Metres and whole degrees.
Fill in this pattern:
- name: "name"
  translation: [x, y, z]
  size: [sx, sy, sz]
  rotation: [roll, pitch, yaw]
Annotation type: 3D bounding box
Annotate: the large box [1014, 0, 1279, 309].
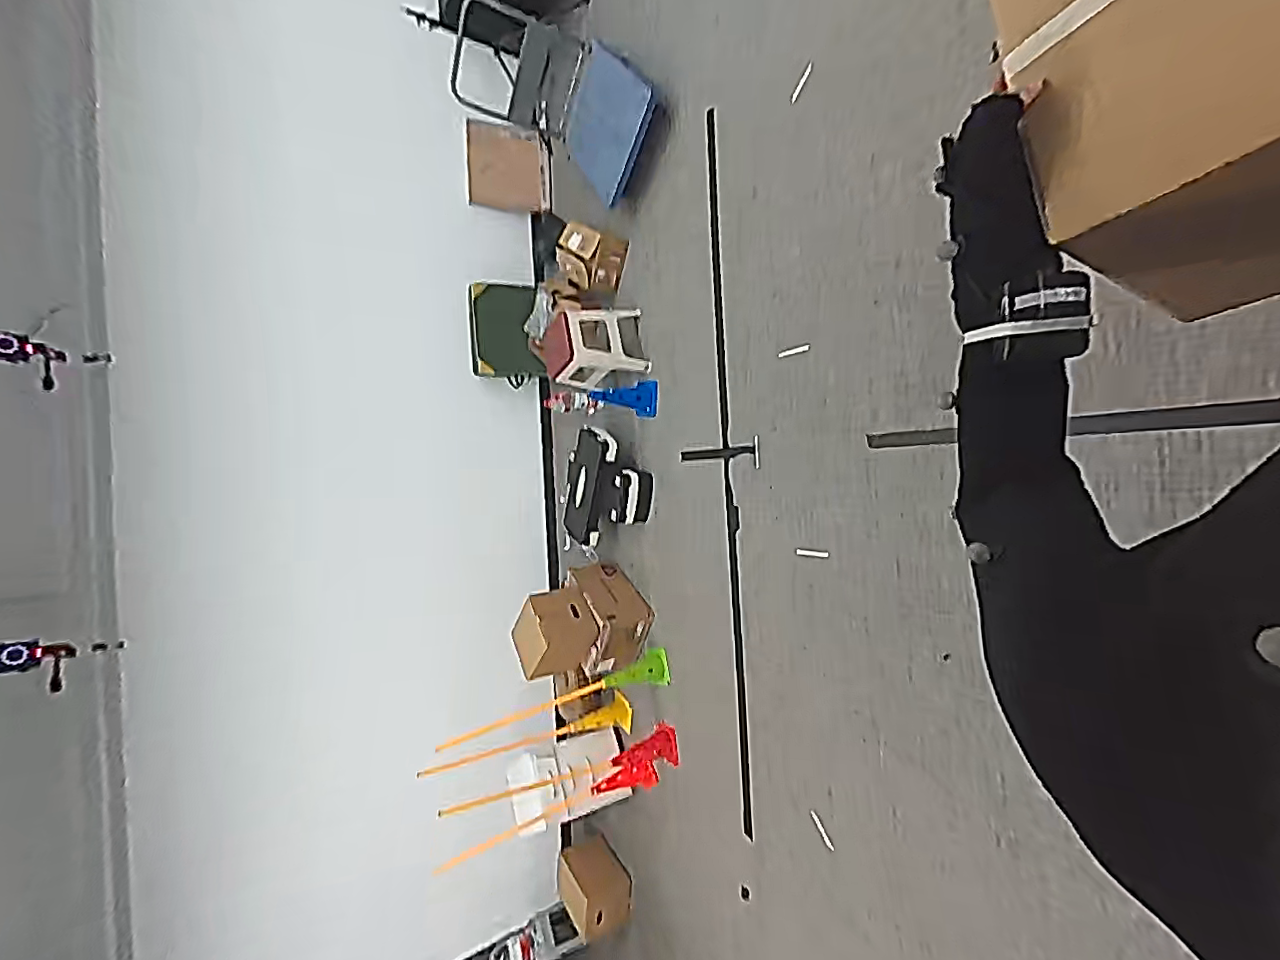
- name: "large box"
  translation: [0.538, -0.366, 0.347]
  size: [0.408, 0.320, 0.320]
  rotation: [-19, 72, 56]
